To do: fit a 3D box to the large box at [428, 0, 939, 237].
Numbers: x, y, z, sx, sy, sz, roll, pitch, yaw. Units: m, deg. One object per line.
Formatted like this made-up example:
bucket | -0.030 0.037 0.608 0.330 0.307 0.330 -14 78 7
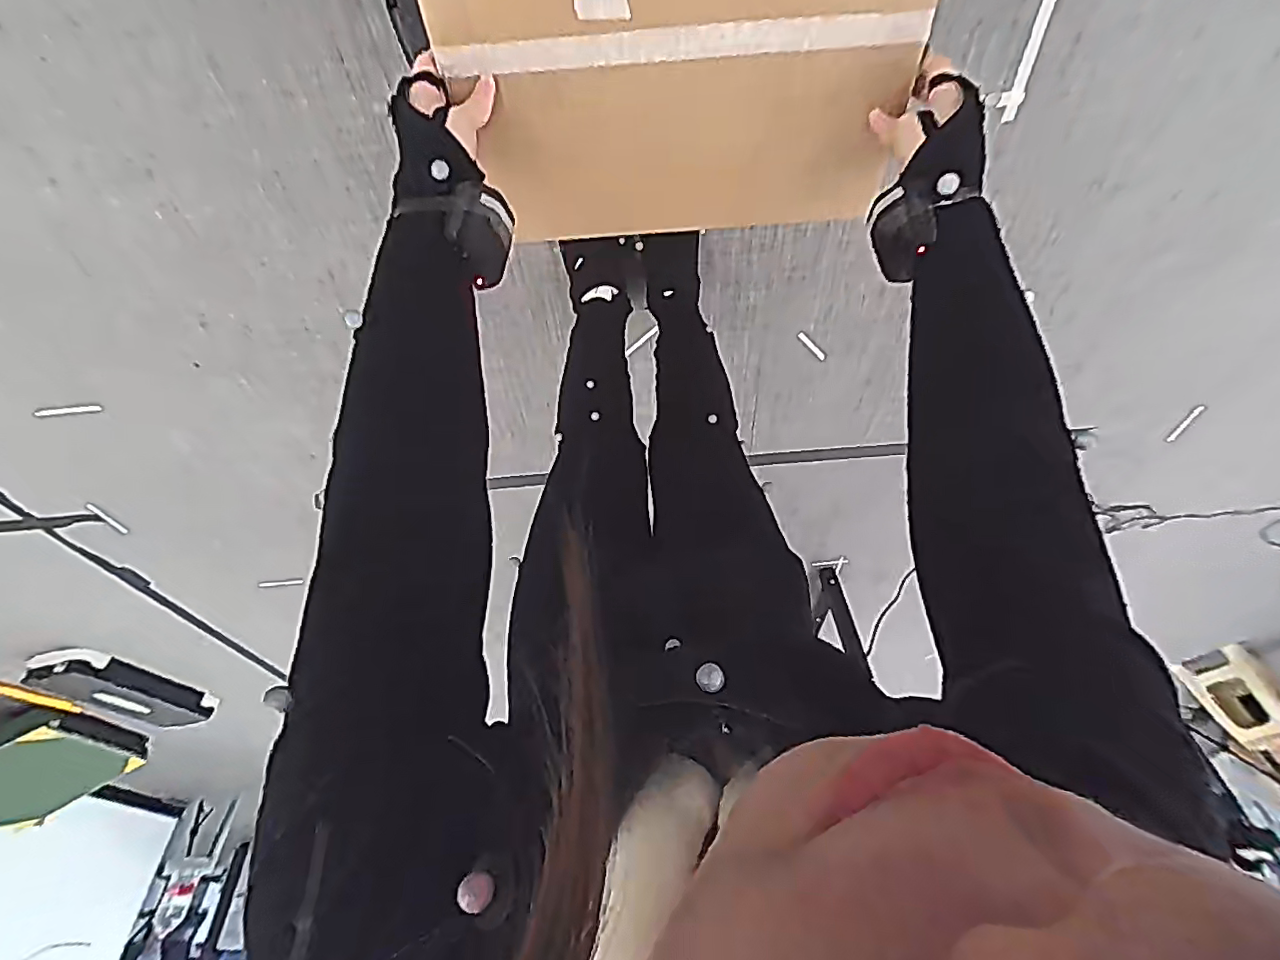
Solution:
large box | 0.033 -0.474 0.523 0.408 0.320 0.320 -4 140 1
